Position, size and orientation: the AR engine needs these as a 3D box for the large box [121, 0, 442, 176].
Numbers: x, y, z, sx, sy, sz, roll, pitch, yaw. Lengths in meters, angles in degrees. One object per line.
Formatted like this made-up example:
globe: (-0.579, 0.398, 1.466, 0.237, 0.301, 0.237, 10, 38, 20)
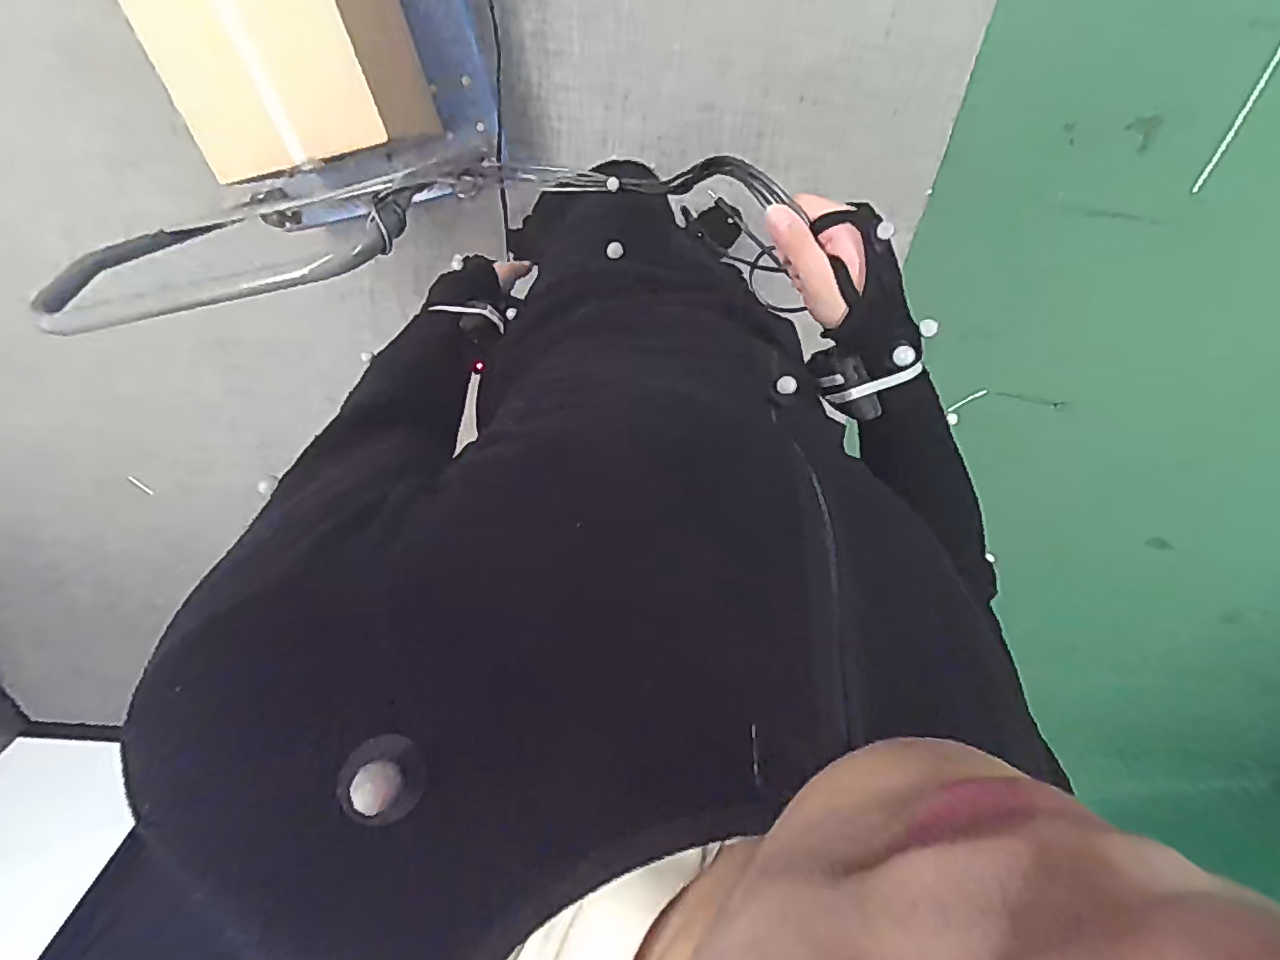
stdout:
large box: (-0.596, -0.776, 0.907, 0.320, 0.320, 0.408, -10, 122, 6)
